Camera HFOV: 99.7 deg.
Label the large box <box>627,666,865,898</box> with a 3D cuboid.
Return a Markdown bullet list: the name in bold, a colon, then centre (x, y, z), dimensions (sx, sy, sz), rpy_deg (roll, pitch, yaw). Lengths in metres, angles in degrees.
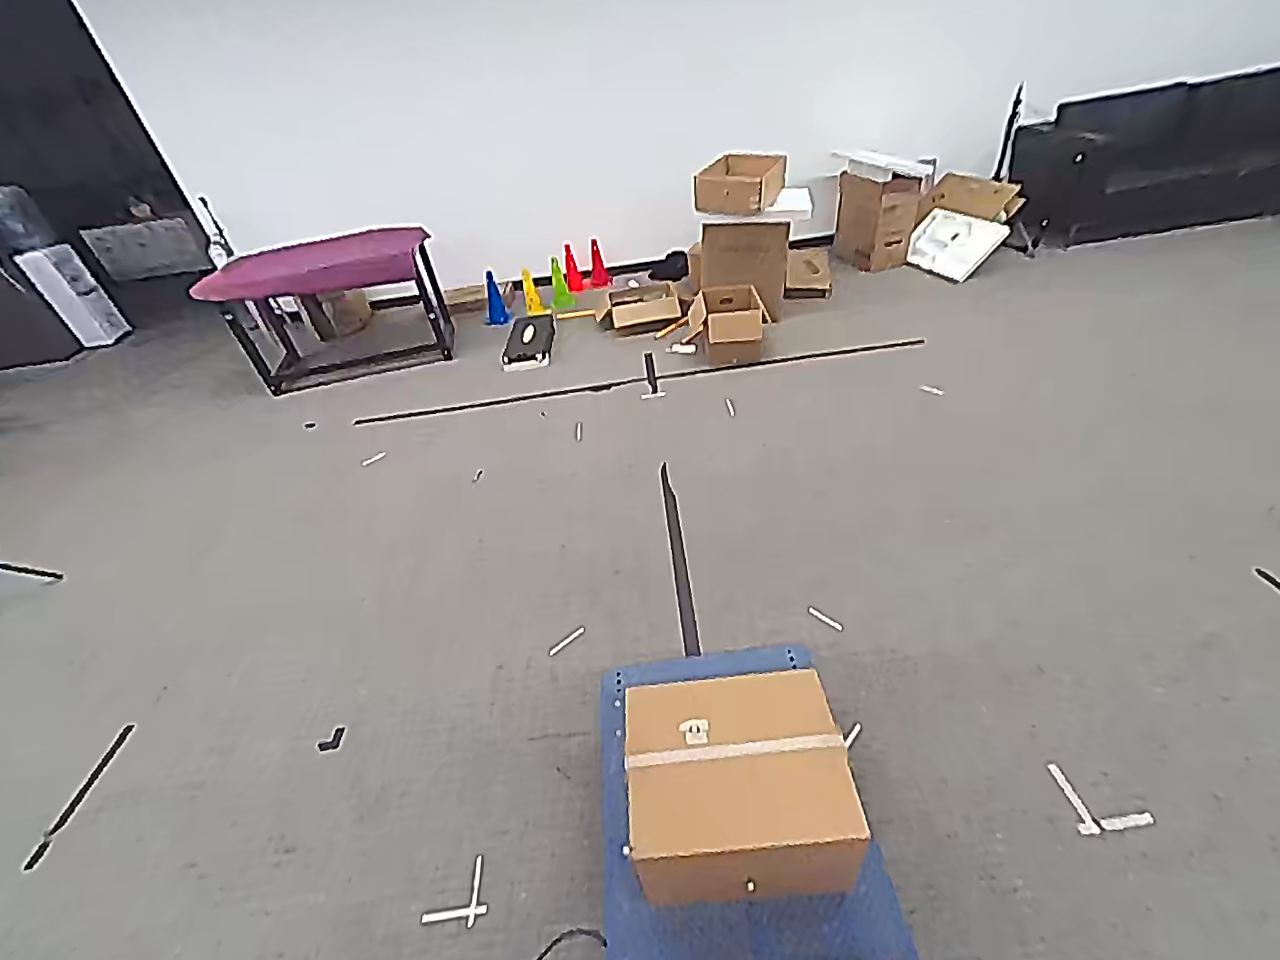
- **large box**: centre (0.197, 0.629, 1.127), dimensions (0.408, 0.320, 0.320), rpy_deg (-8, 38, 2)
